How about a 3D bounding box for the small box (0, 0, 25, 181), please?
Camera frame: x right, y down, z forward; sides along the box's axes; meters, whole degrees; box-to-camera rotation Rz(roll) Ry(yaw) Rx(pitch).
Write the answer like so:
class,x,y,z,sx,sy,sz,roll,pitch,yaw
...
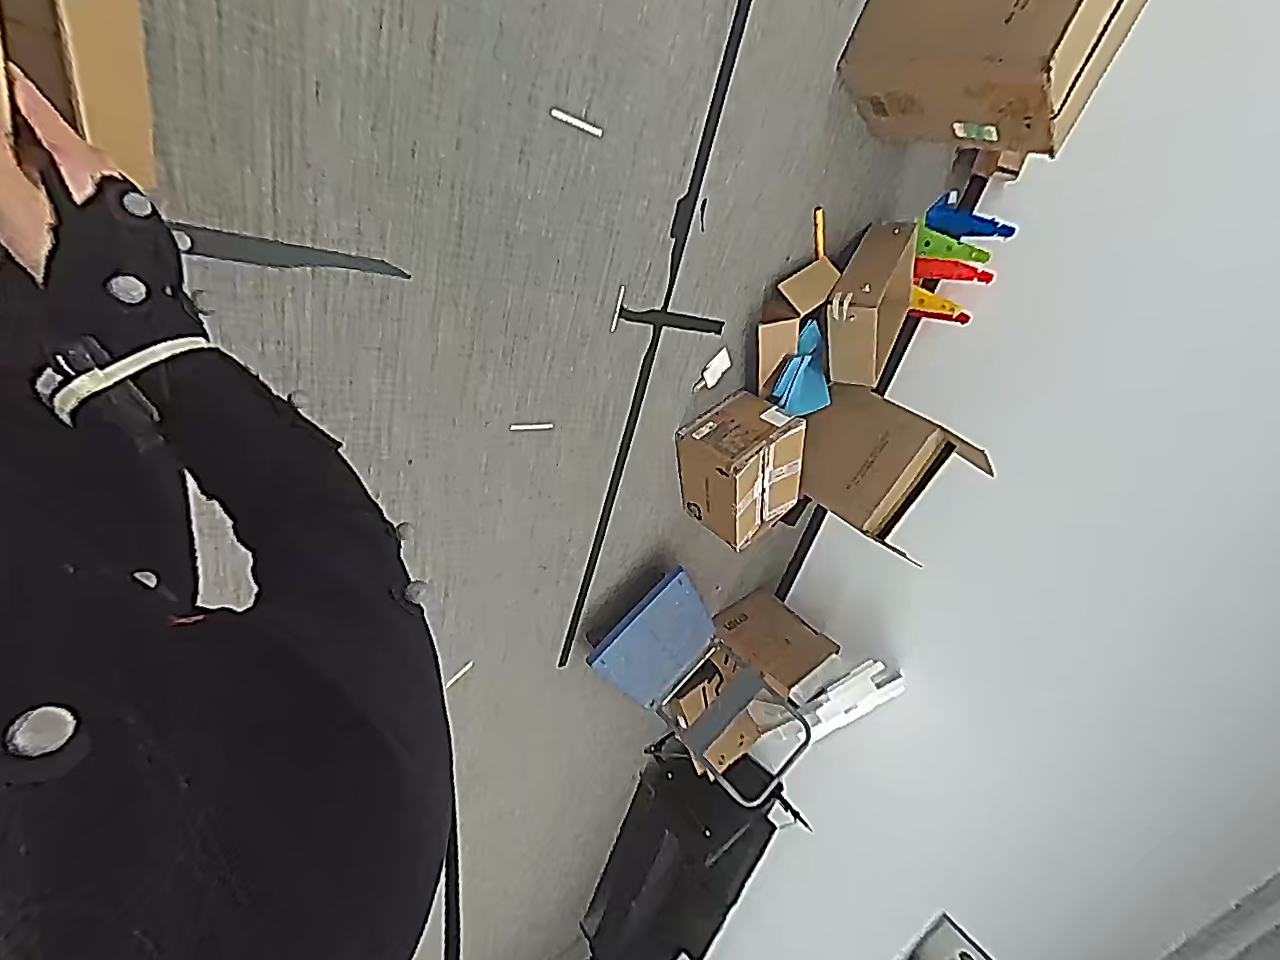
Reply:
class,x,y,z,sx,sy,sz,roll,pitch,yaw
small box,-0.461,-0.283,0.284,0.168,0.176,0.179,-8,109,-48
